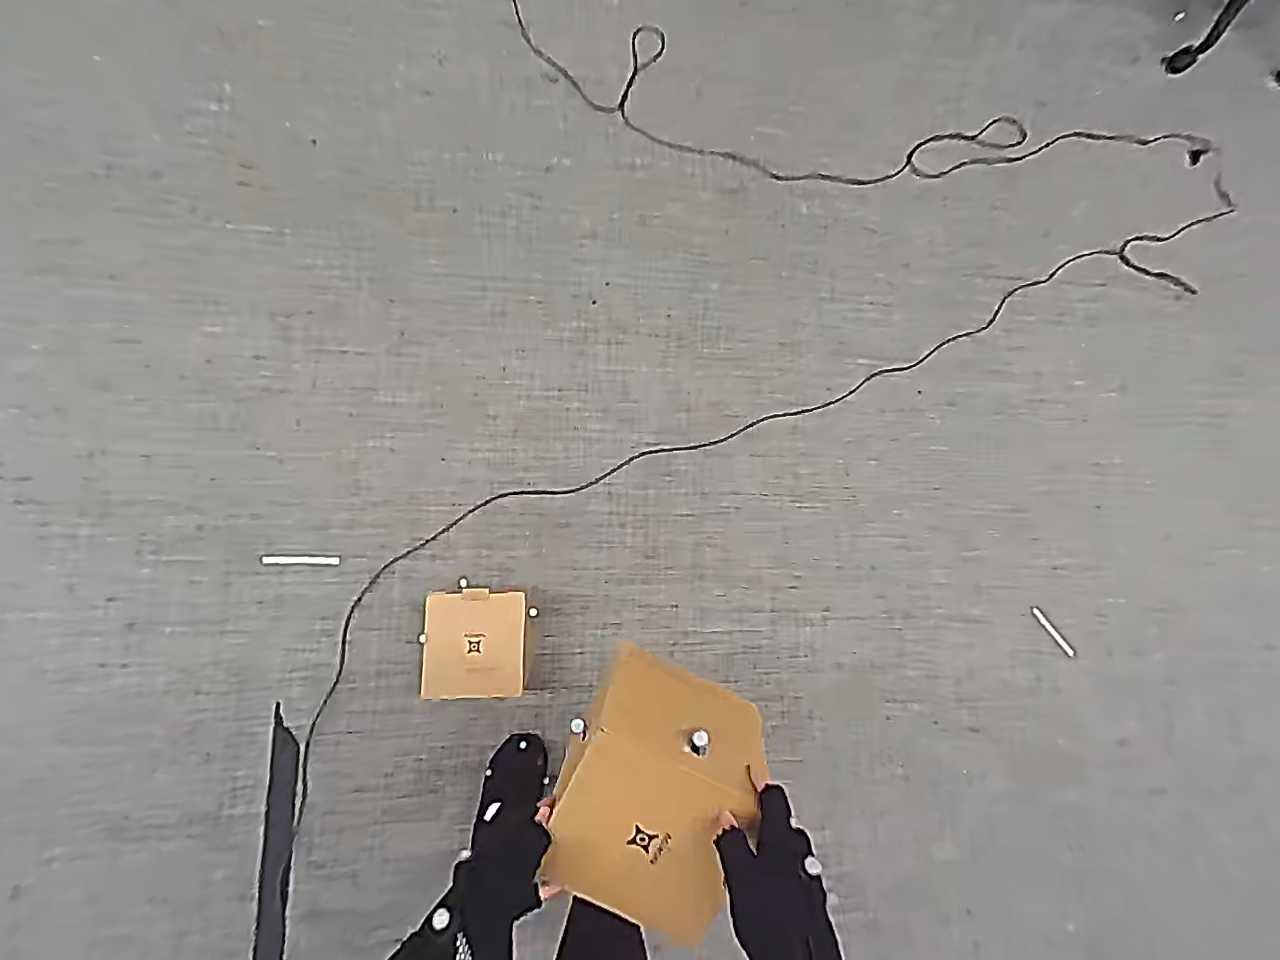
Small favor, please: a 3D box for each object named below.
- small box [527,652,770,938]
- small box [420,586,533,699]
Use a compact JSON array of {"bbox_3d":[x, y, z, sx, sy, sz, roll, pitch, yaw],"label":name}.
[{"bbox_3d":[0.010,0.311,0.574,0.179,0.176,0.168,26,100,0],"label":"small box"},{"bbox_3d":[-0.287,0.287,0.983,0.168,0.176,0.179,2,83,-6],"label":"small box"}]
